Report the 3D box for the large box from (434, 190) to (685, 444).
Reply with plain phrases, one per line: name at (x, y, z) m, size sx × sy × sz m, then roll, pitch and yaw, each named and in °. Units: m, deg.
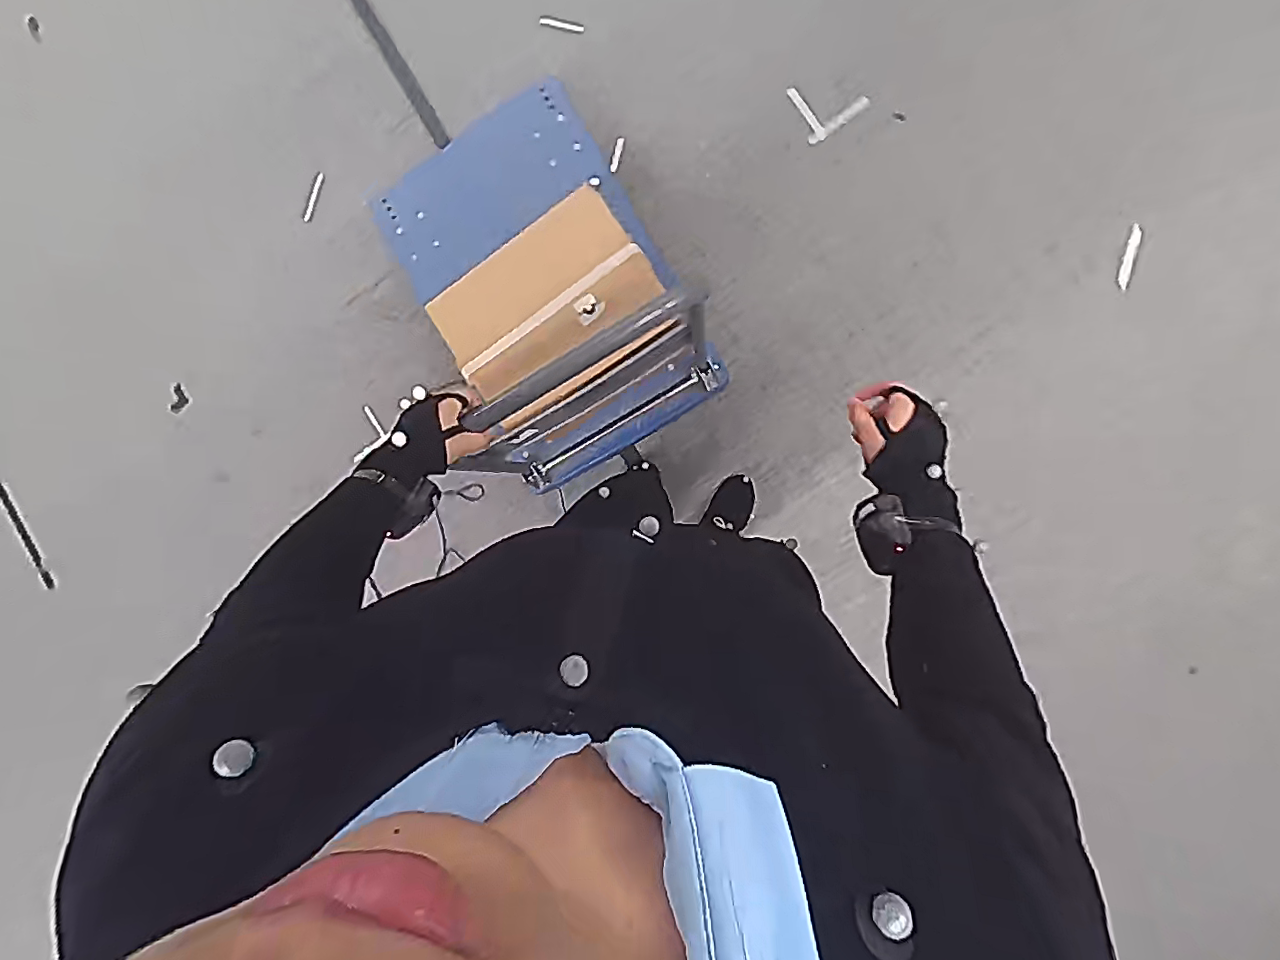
large box at (-0.150, -0.319, 1.186) m, size 0.408 × 0.320 × 0.320 m, roll -34°, pitch 89°, yaw 6°
